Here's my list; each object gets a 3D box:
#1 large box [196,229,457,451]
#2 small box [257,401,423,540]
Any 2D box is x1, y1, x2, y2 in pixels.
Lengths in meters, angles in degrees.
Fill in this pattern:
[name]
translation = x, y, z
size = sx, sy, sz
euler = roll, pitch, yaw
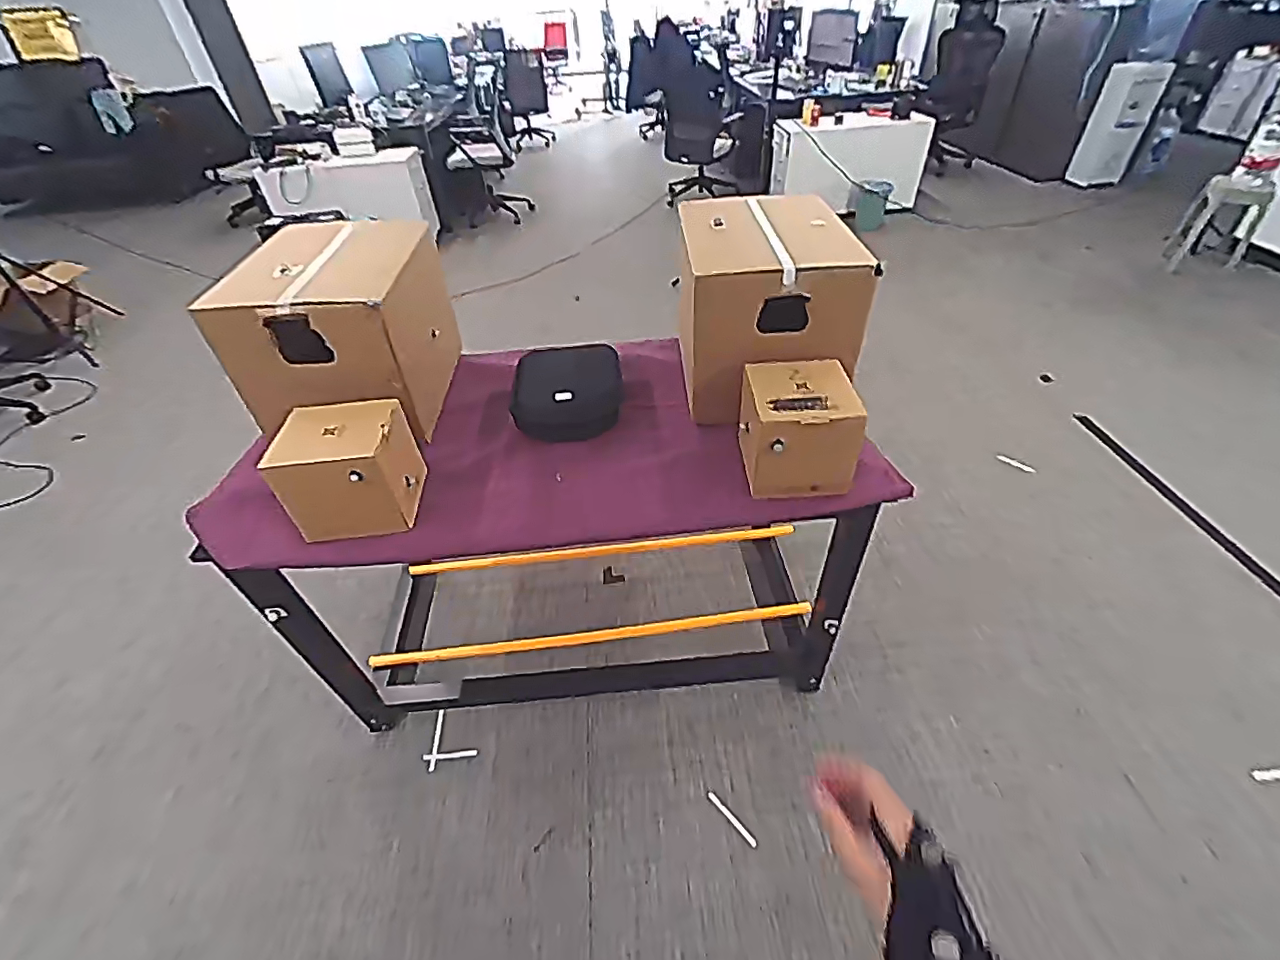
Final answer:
[large box]
translation = -0.598, -0.296, 1.137
size = 0.320, 0.320, 0.408
euler = -4, 45, -3
[small box]
translation = -0.495, -0.013, 0.924
size = 0.179, 0.176, 0.168
euler = -7, 41, -5
